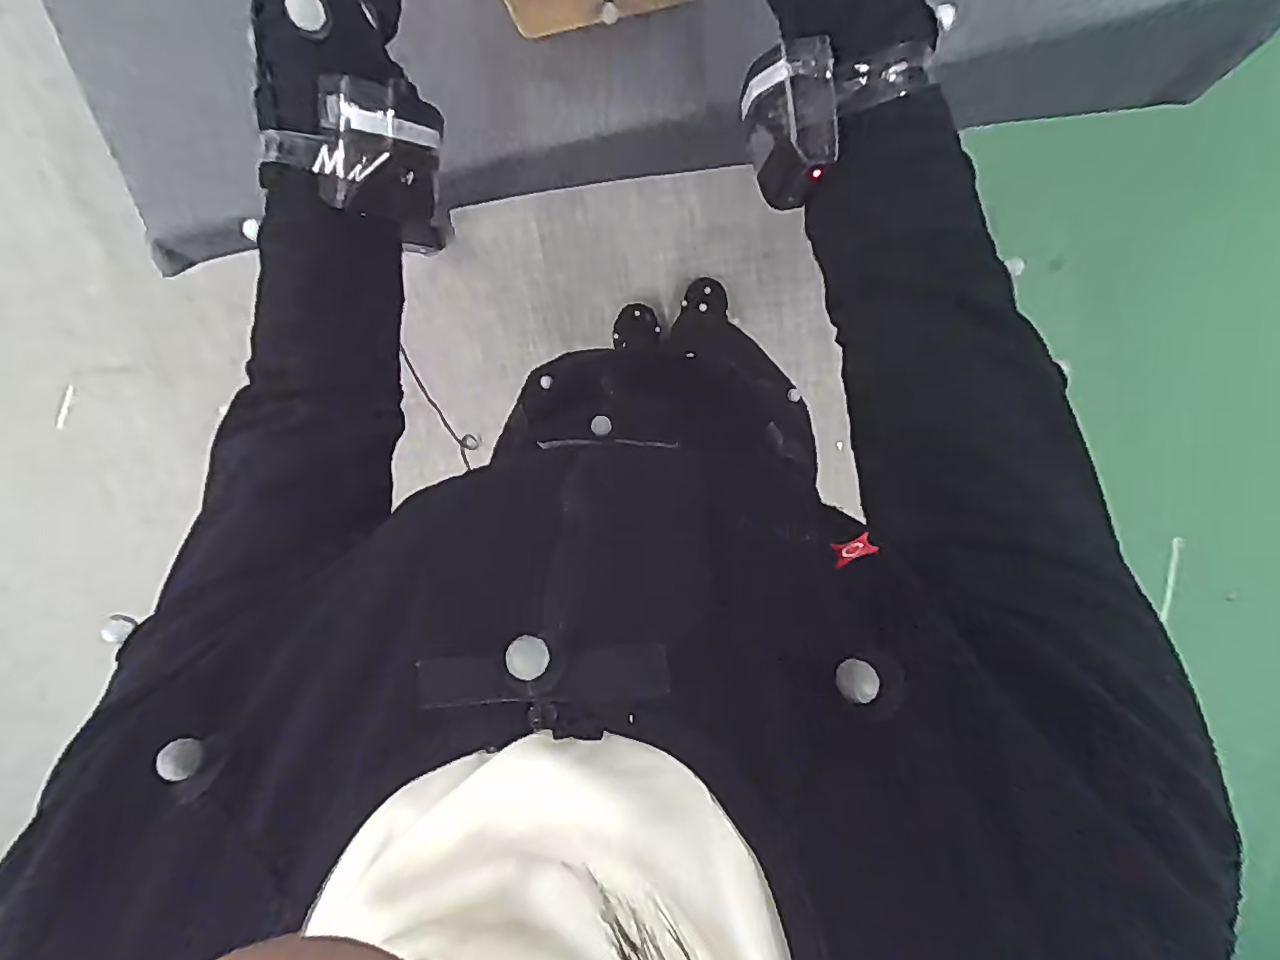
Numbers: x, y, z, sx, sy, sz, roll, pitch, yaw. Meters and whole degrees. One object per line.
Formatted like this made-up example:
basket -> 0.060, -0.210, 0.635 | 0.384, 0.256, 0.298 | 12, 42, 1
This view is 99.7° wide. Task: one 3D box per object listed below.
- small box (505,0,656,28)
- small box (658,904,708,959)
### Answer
small box -> -0.049, -0.503, 0.425 | 0.179, 0.176, 0.168 | -9, 109, 5
small box -> 0.161, 1.723, 2.020 | 0.179, 0.176, 0.168 | -7, 110, 5
